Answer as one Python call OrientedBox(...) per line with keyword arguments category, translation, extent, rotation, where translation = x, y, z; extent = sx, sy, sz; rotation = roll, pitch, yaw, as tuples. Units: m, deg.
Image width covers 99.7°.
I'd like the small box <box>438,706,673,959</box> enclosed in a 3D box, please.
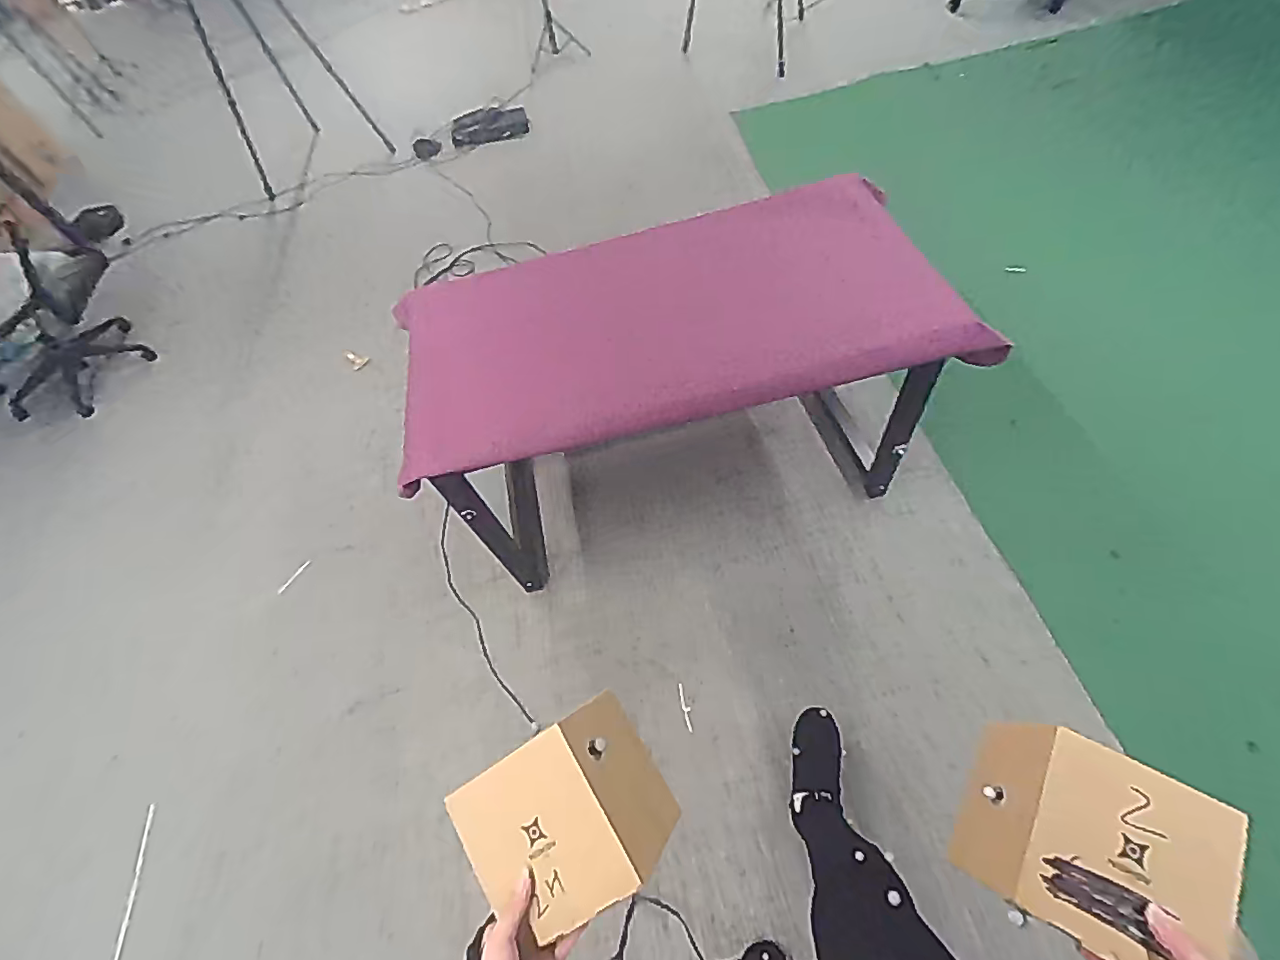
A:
OrientedBox(category="small box", translation=(-0.086, 0.383, 0.620), extent=(0.168, 0.176, 0.179), rotation=(-36, 74, 9))
